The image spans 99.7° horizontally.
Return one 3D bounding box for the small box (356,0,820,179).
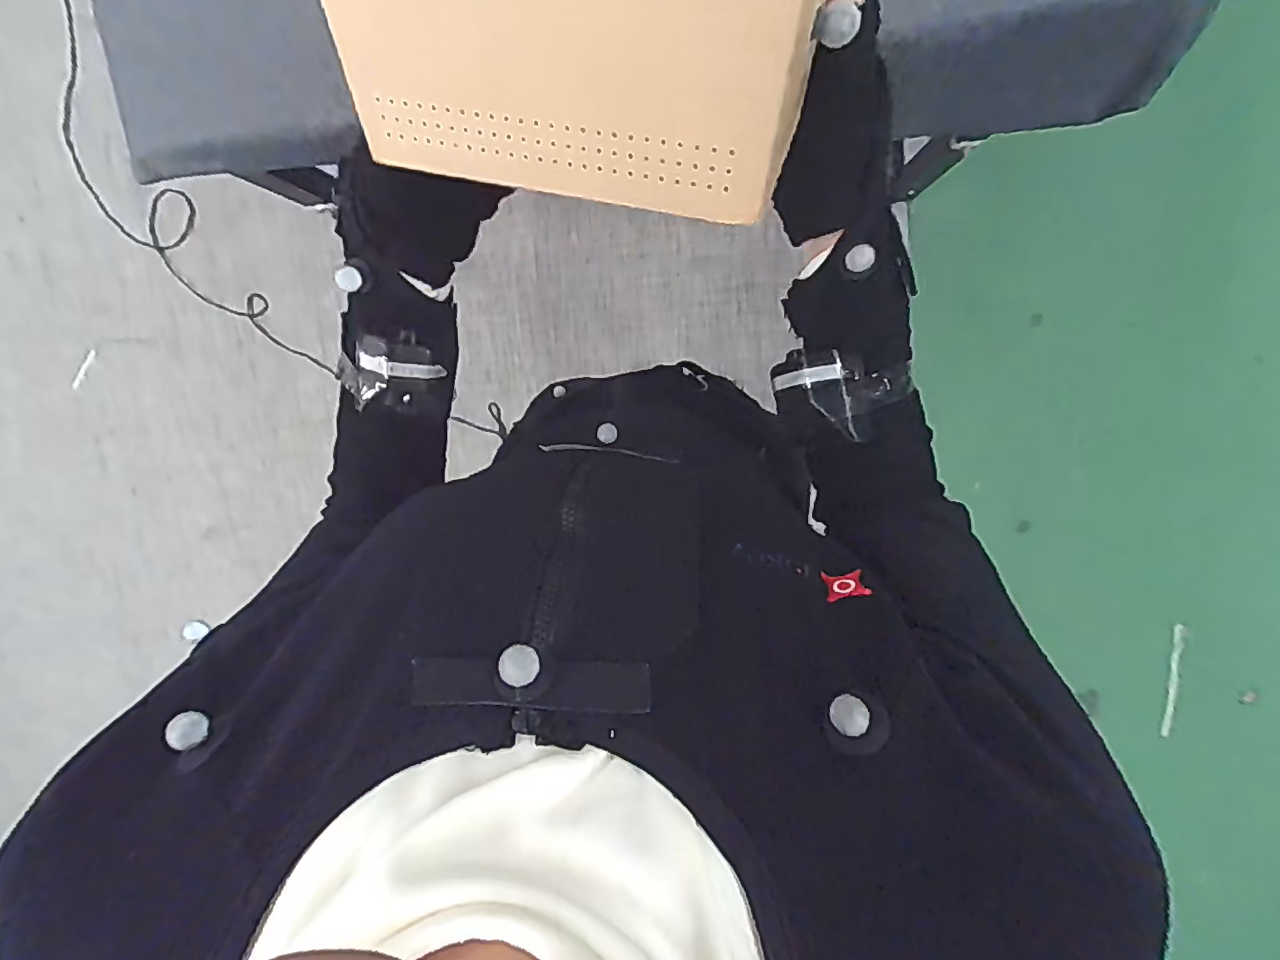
[{"bbox_3d":[-0.012,-0.248,0.220,0.179,0.168,0.176,15,143,11],"label":"small box"}]
